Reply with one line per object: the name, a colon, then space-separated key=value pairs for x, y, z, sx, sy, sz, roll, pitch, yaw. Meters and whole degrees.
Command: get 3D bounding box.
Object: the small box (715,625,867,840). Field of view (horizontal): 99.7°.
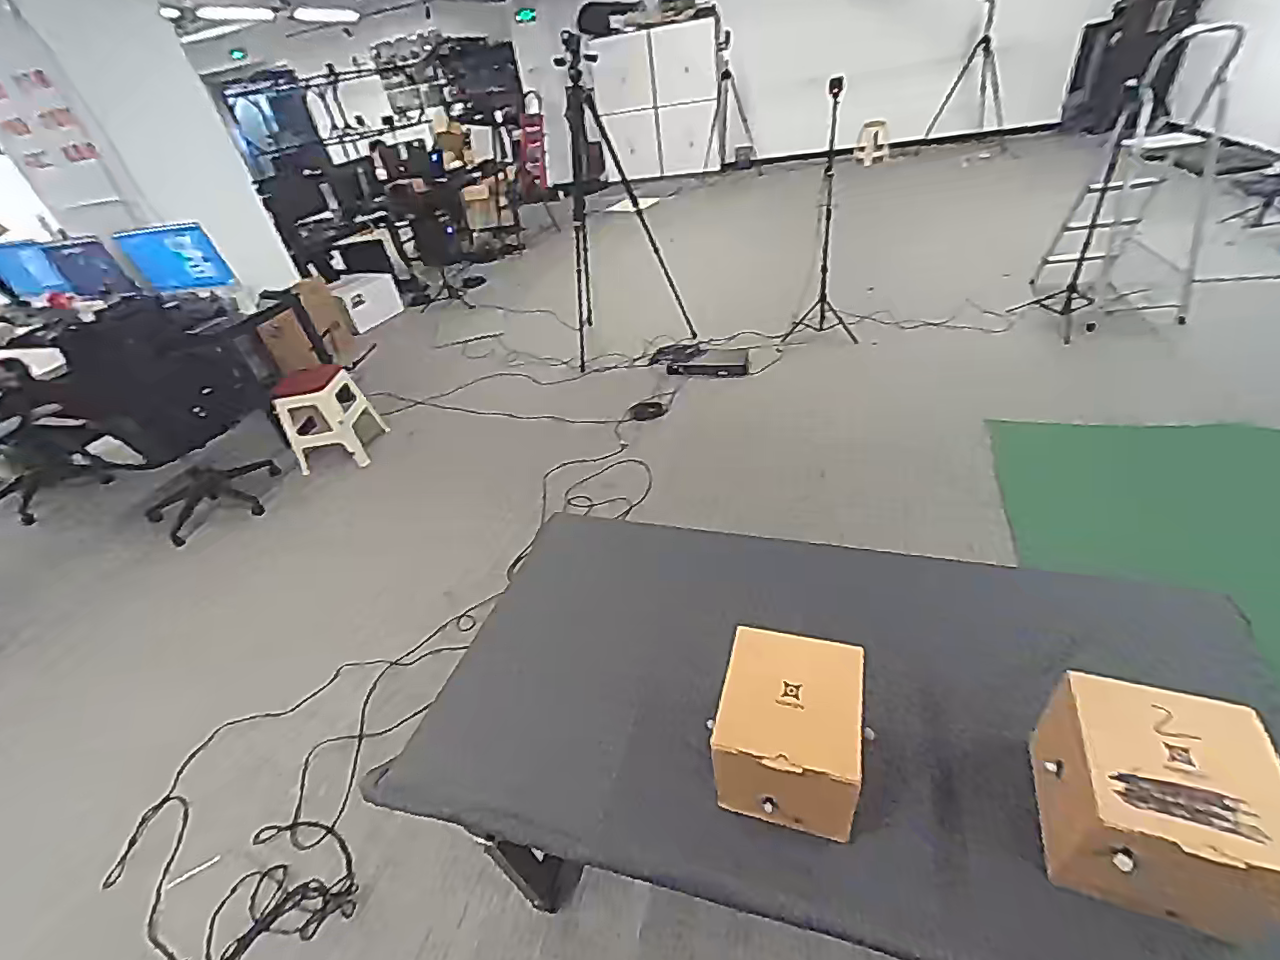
small box: x=0.196 y=0.325 z=0.709 sx=0.168 sy=0.176 sz=0.179 roll=7 pitch=40 yaw=19
